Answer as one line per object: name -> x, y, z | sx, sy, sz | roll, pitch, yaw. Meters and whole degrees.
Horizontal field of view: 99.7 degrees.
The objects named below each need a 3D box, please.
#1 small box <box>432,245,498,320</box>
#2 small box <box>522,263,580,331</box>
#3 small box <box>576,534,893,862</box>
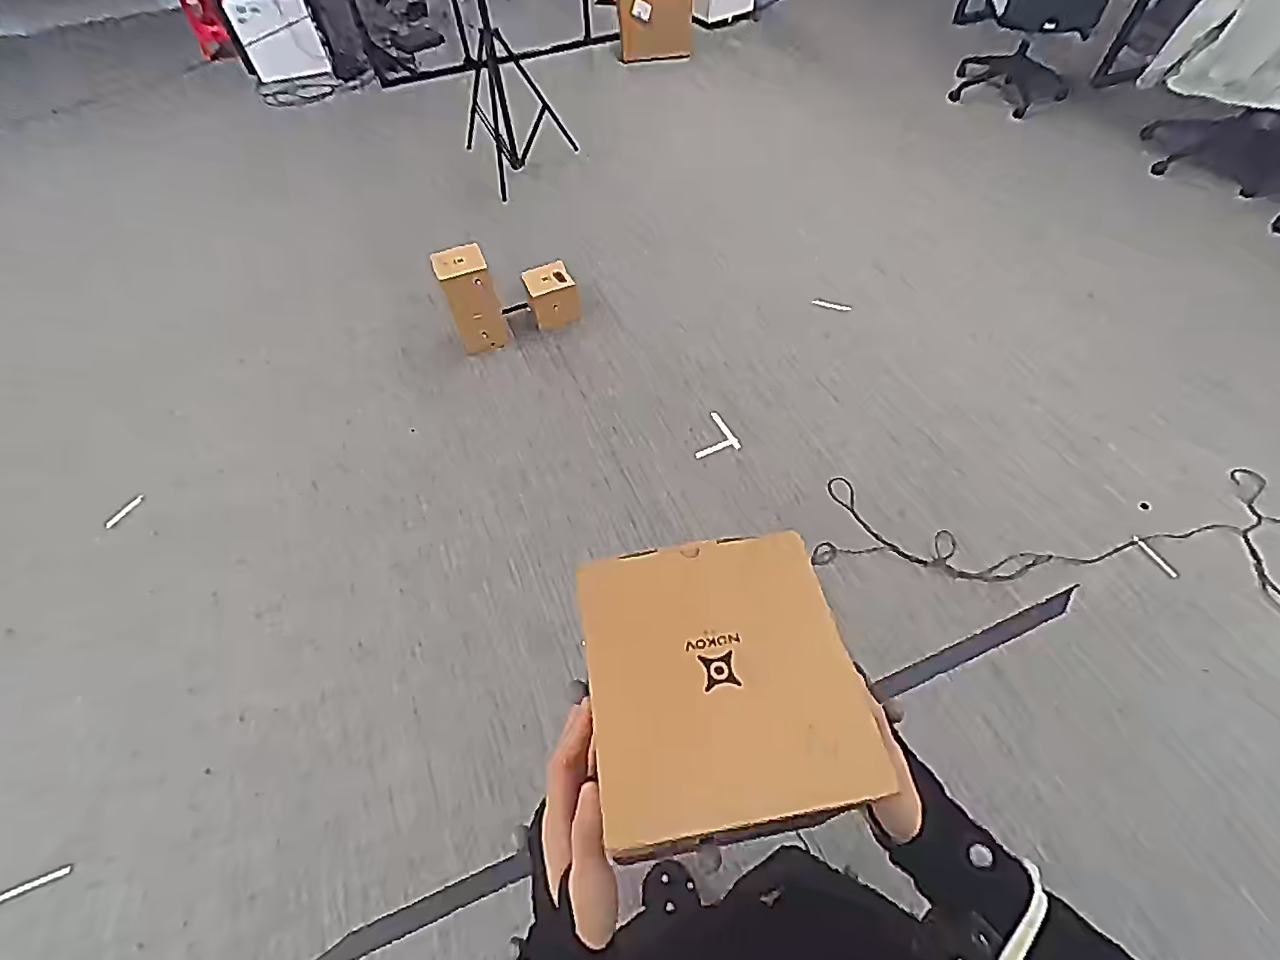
small box -> -0.624, -0.711, 1.953 | 0.179, 0.176, 0.168 | -20, 57, -11
small box -> -0.347, -0.723, 2.146 | 0.179, 0.176, 0.168 | -22, 58, -10
small box -> 0.049, 0.167, 0.402 | 0.168, 0.176, 0.179 | -8, 52, -5
